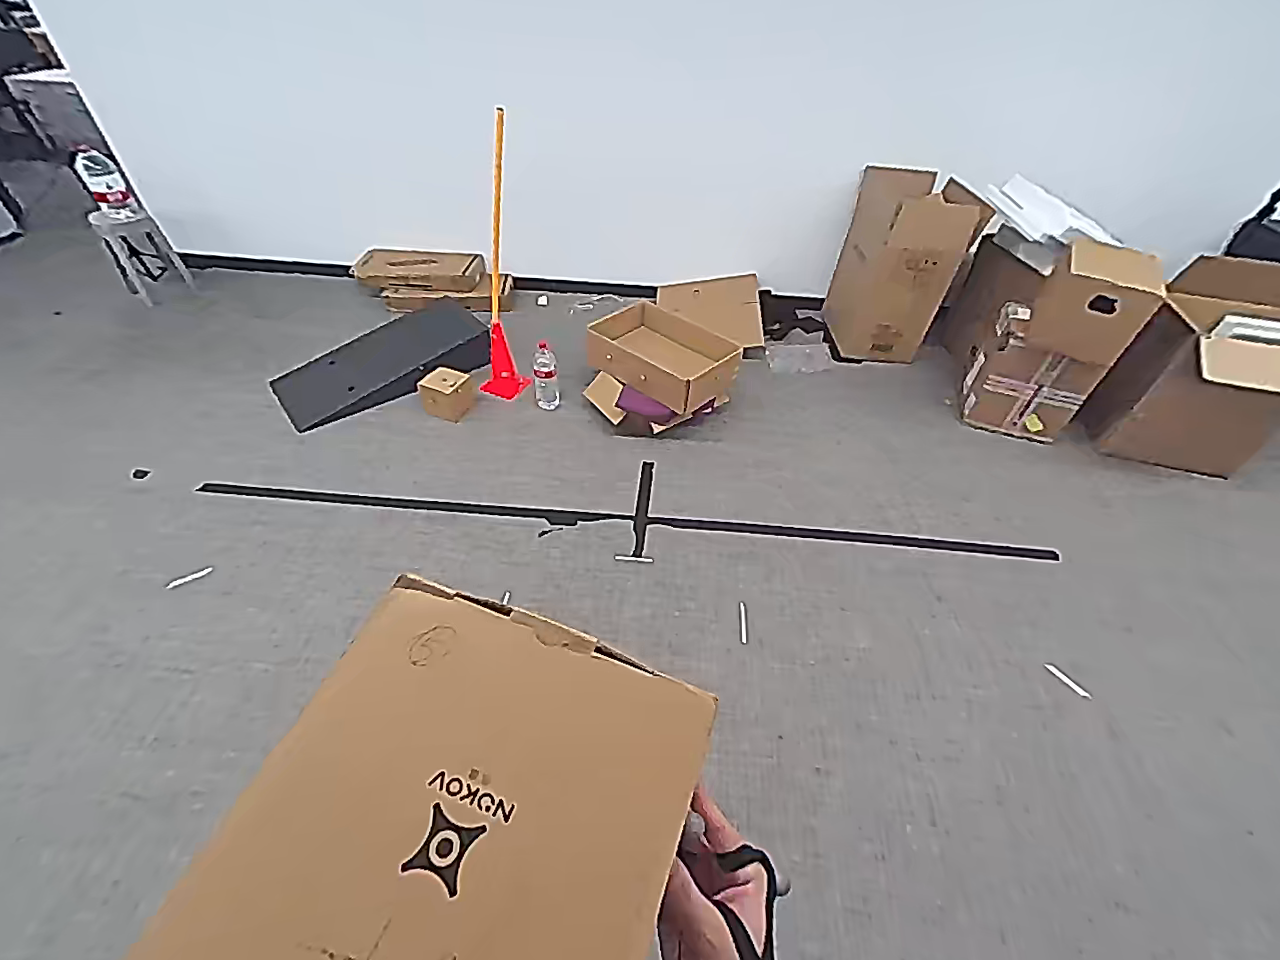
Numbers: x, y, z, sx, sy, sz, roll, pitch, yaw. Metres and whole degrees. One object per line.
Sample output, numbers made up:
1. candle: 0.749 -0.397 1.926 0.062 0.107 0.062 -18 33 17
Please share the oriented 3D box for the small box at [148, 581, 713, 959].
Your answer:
1. small box: -0.075 0.188 0.283 0.168 0.176 0.179 18 56 10
